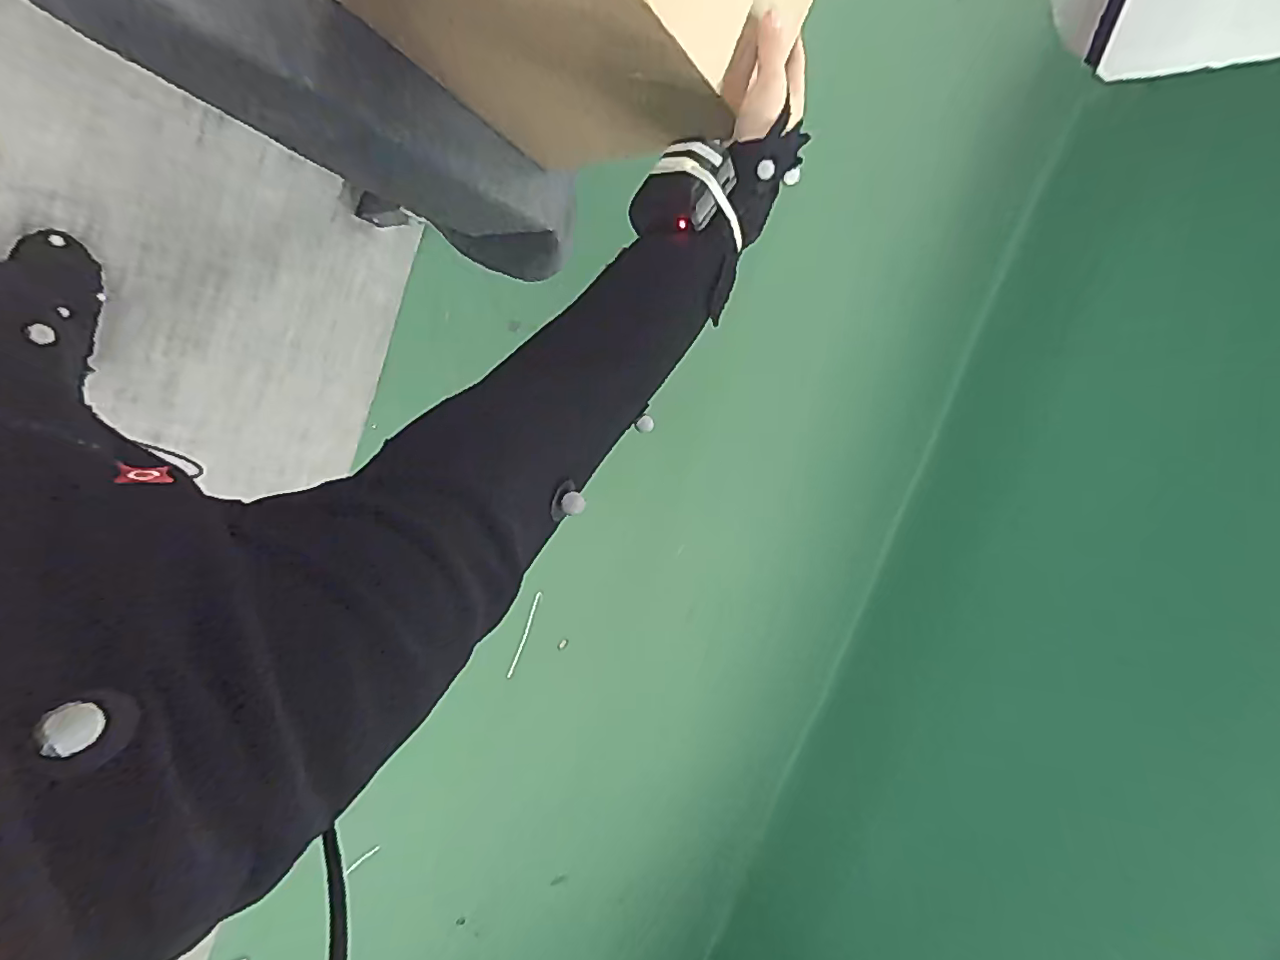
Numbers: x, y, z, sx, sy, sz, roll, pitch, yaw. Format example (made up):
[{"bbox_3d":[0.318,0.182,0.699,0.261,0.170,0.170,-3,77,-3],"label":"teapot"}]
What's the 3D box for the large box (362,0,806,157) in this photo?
[{"bbox_3d":[-0.081,-0.514,0.385,0.408,0.320,0.320,20,95,-46],"label":"large box"}]
